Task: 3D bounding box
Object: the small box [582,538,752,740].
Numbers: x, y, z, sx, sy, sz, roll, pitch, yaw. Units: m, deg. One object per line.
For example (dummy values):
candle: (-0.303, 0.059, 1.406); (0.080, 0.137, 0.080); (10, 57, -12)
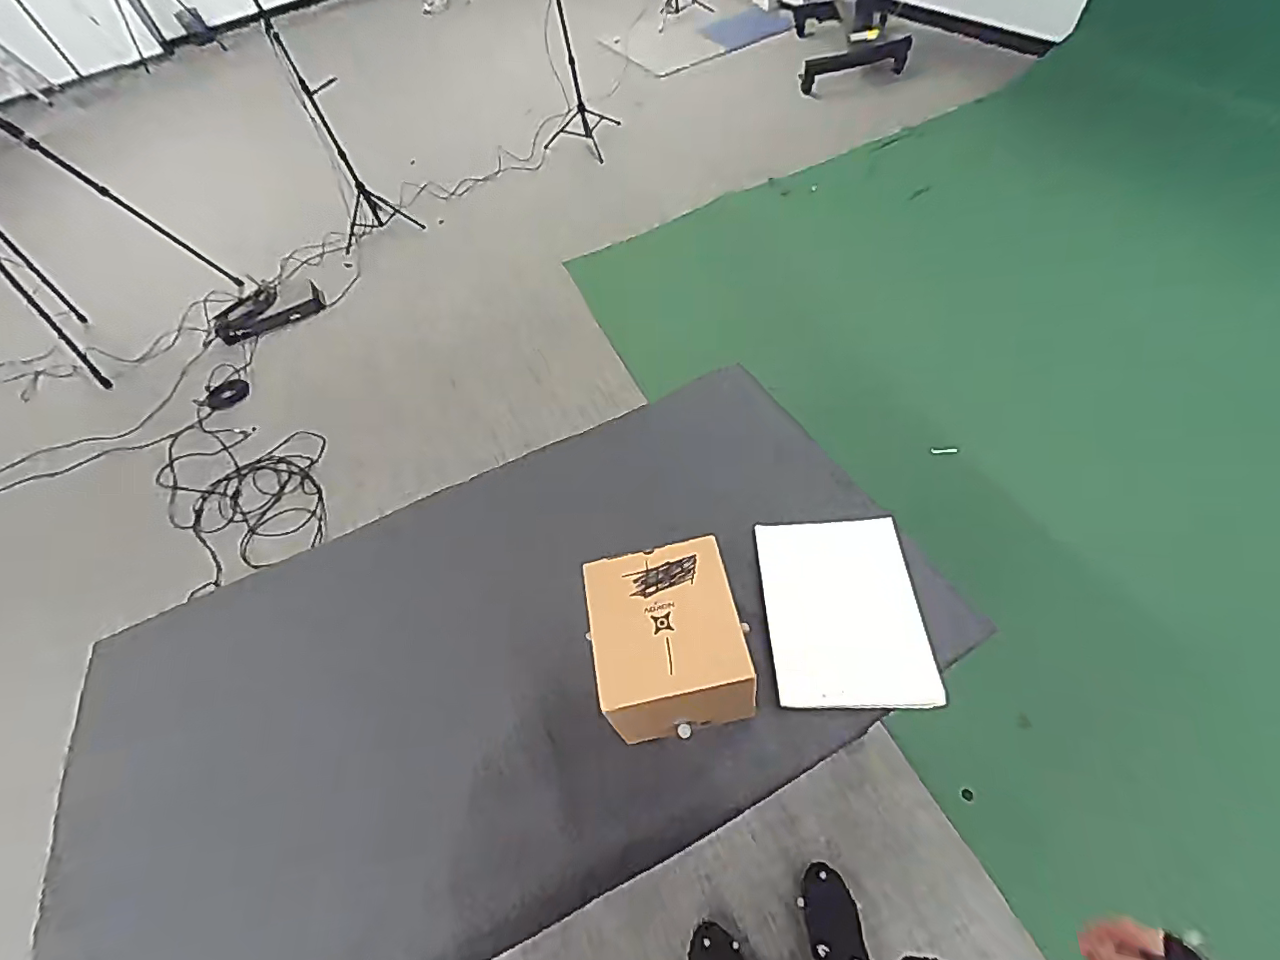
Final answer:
small box: (0.034, 0.201, 0.672); (0.168, 0.176, 0.179); (-14, 54, 2)
